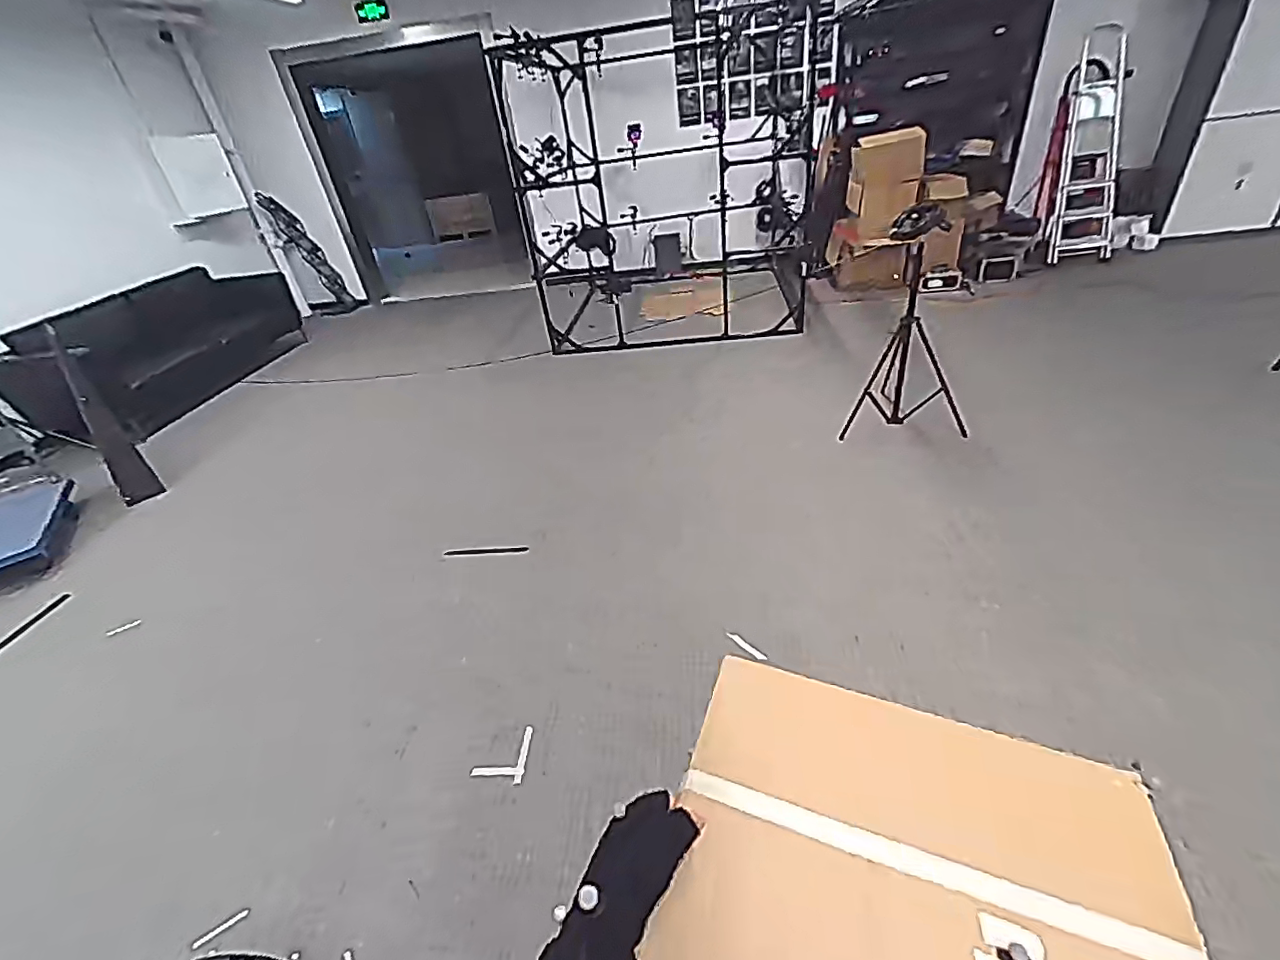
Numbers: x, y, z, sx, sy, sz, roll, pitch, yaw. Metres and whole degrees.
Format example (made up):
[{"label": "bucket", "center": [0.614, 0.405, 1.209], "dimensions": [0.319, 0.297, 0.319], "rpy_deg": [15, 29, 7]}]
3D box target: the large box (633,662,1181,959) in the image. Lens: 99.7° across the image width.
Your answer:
[{"label": "large box", "center": [0.230, 0.452, 0.557], "dimensions": [0.408, 0.320, 0.320], "rpy_deg": [11, 36, 18]}]
